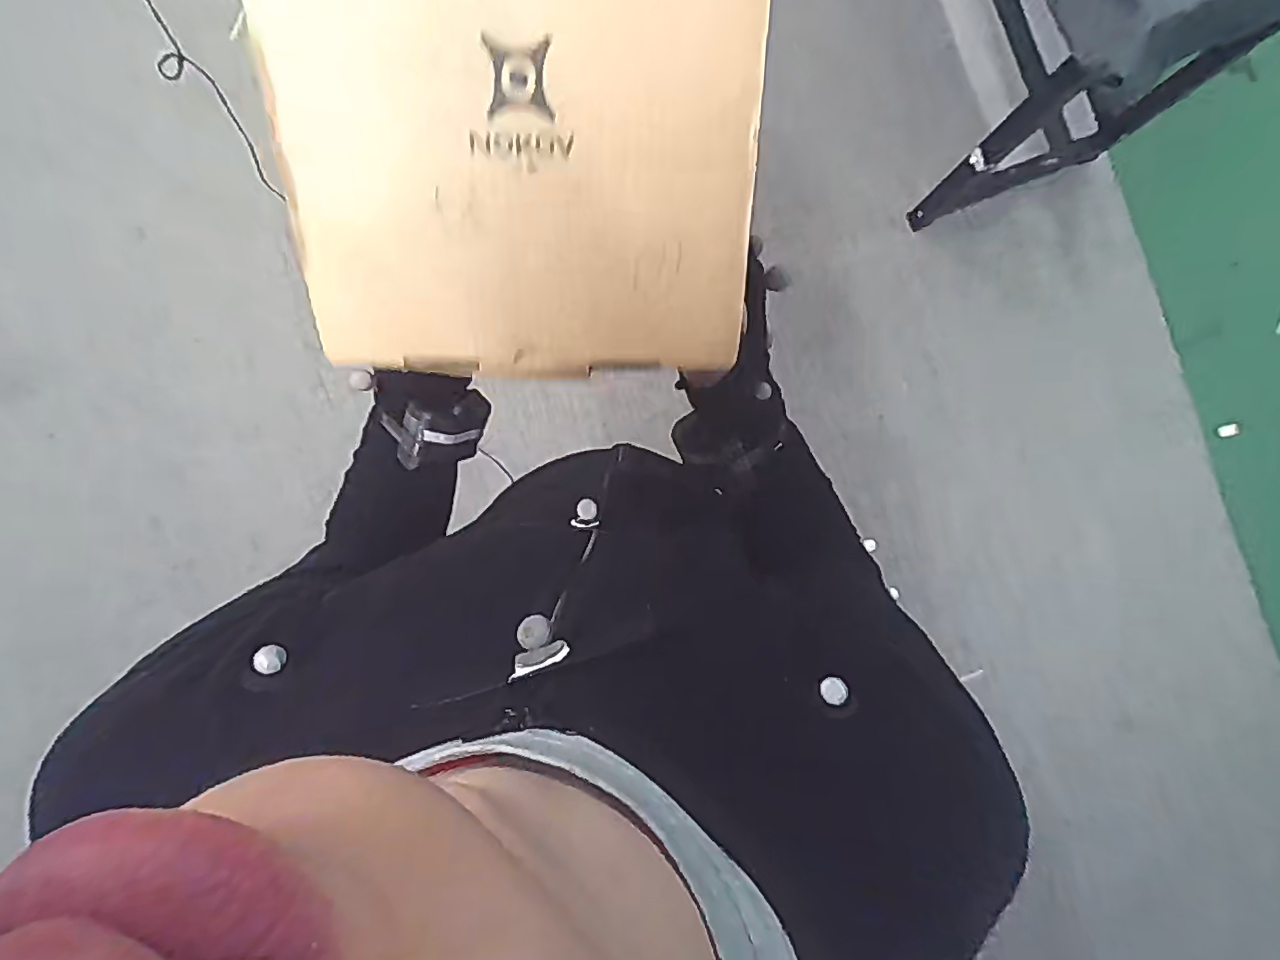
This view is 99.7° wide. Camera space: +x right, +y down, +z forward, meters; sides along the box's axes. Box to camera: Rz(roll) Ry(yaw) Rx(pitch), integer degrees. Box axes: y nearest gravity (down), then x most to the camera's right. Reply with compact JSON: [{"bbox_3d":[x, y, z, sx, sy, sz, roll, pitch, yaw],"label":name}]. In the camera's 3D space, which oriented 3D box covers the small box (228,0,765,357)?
[{"bbox_3d":[-0.047,-0.162,0.247,0.168,0.176,0.179,-1,115,-5],"label":"small box"}]
